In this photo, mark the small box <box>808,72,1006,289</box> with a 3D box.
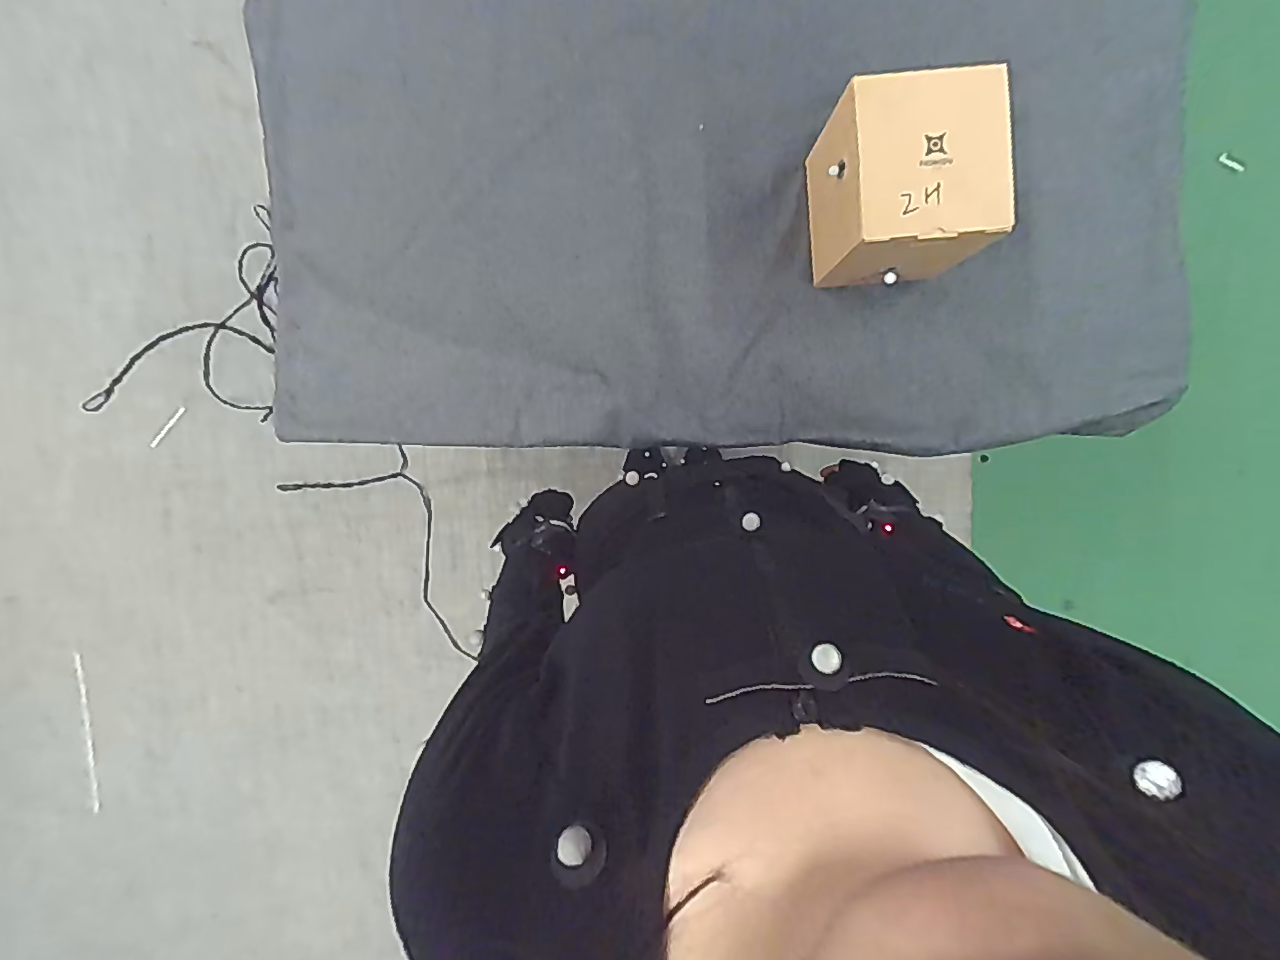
[{"bbox_3d":[0.313,-0.352,0.665,0.168,0.176,0.179,-4,93,1],"label":"small box"}]
